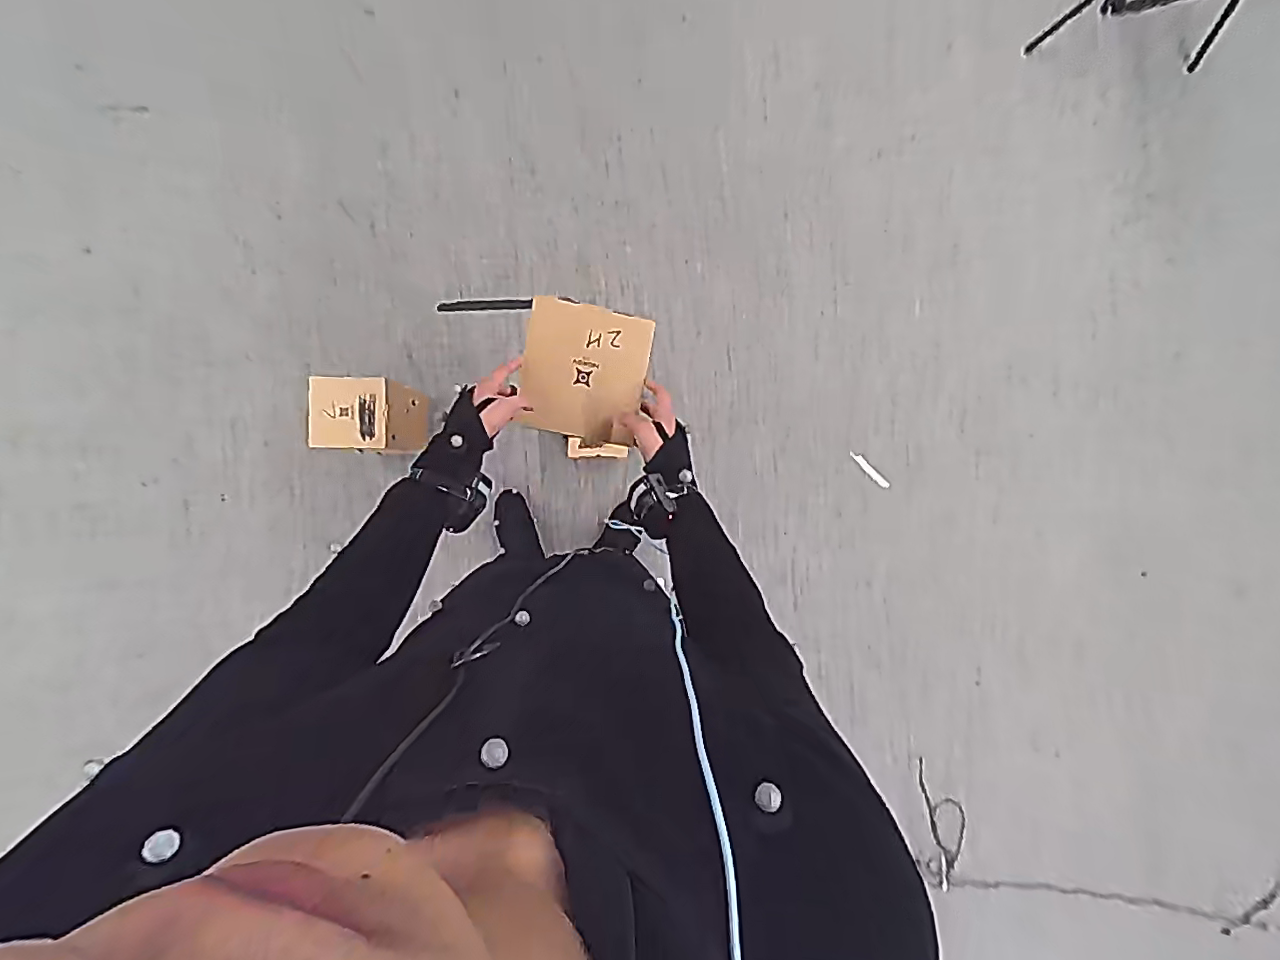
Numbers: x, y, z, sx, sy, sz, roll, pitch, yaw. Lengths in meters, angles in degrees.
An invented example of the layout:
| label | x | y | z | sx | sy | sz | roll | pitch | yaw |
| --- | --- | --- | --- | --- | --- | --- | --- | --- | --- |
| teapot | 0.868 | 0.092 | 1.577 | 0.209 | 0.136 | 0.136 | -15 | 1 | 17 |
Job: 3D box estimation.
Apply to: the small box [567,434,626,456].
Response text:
| label | x | y | z | sx | sy | sz | roll | pitch | yaw |
| --- | --- | --- | --- | --- | --- | --- | --- | --- | --- |
| small box | -0.124 | -0.160 | 1.549 | 0.168 | 0.176 | 0.179 | 1 | 90 | -7 |

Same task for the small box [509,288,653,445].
| label | x | y | z | sx | sy | sz | roll | pitch | yaw |
| --- | --- | --- | --- | --- | --- | --- | --- | --- | --- |
| small box | -0.090 | -0.154 | 0.788 | 0.168 | 0.176 | 0.179 | 10 | 93 | -12 |

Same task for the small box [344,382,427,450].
| label | x | y | z | sx | sy | sz | roll | pitch | yaw |
| --- | --- | --- | --- | --- | --- | --- | --- | --- | --- |
| small box | -0.694 | -0.171 | 1.490 | 0.168 | 0.176 | 0.179 | -1 | 90 | -5 |
